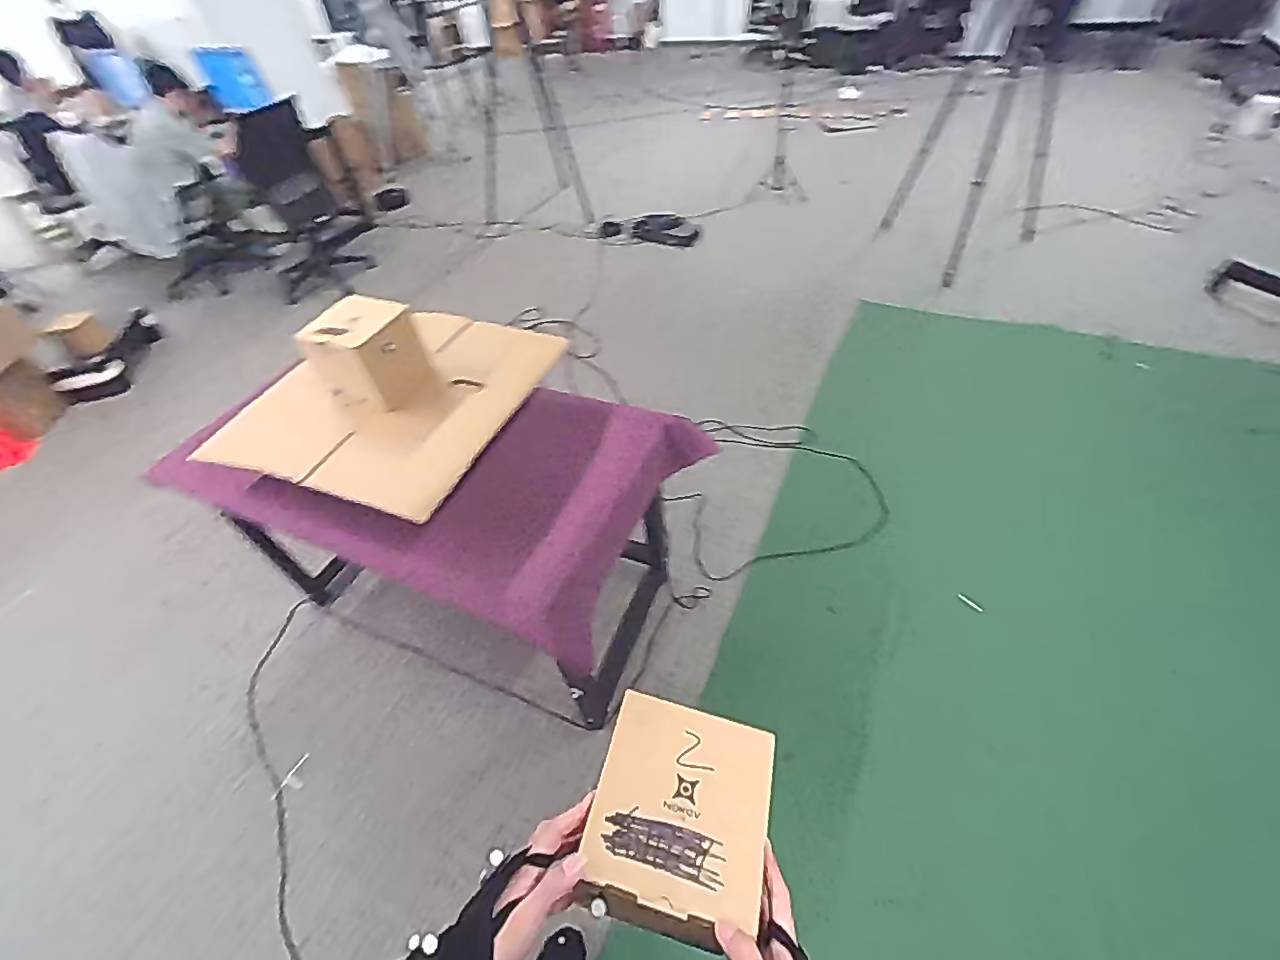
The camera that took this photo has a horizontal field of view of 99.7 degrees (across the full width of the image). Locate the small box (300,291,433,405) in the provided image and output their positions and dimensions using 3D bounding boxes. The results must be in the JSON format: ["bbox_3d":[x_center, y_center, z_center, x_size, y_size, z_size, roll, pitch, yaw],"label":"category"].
[{"bbox_3d":[-0.593,-0.292,1.201,0.168,0.176,0.179,15,51,17],"label":"small box"}]
